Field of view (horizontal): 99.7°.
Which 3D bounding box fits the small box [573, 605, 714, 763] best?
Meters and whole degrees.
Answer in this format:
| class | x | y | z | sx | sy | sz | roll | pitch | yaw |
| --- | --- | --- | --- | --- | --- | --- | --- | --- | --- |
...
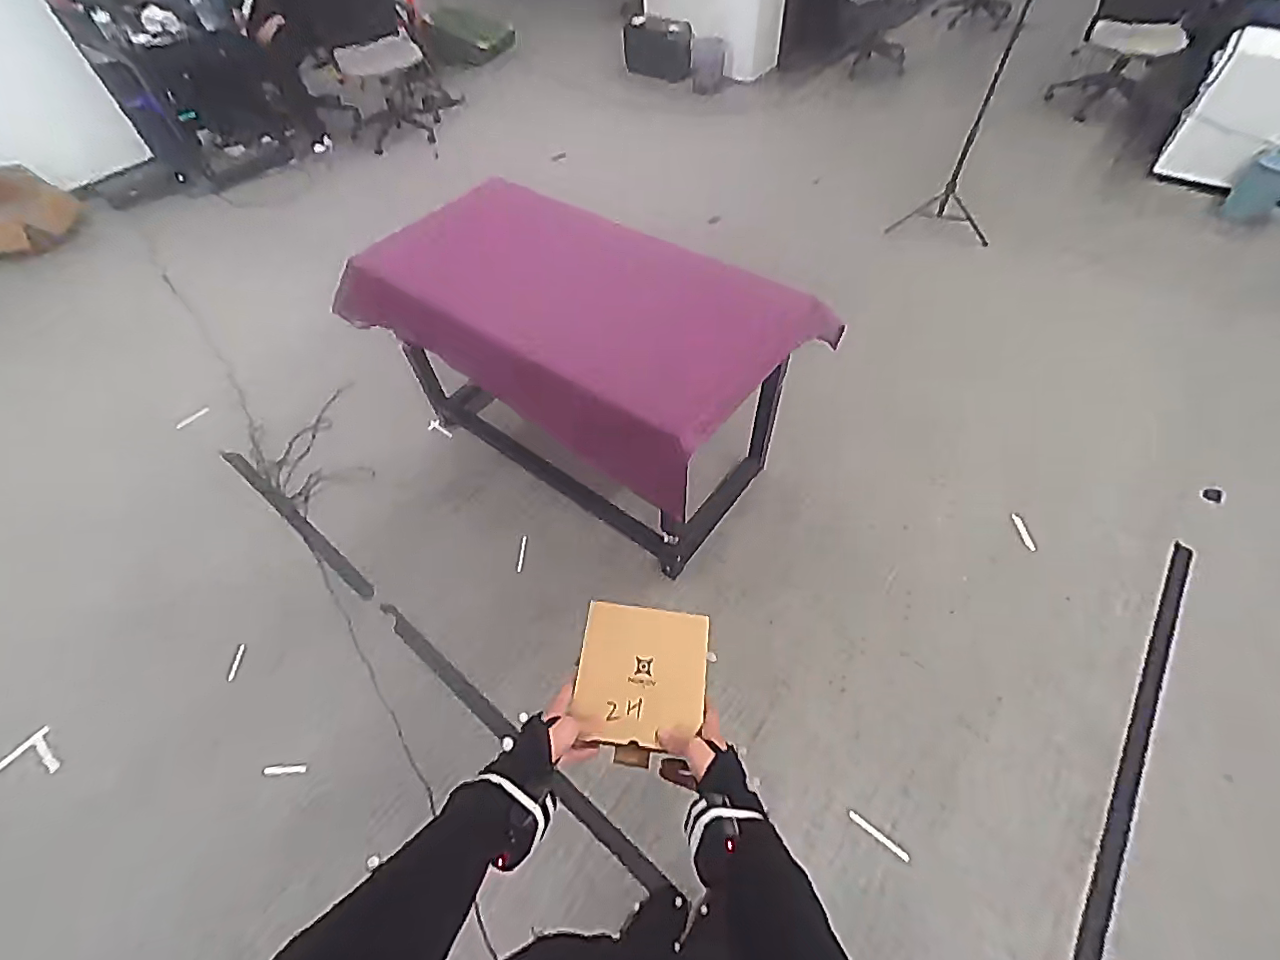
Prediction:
| class | x | y | z | sx | sy | sz | roll | pitch | yaw |
| --- | --- | --- | --- | --- | --- | --- | --- | --- | --- |
| small box | 0.007 | 0.294 | 0.775 | 0.168 | 0.176 | 0.179 | 7 | 64 | 3 |
